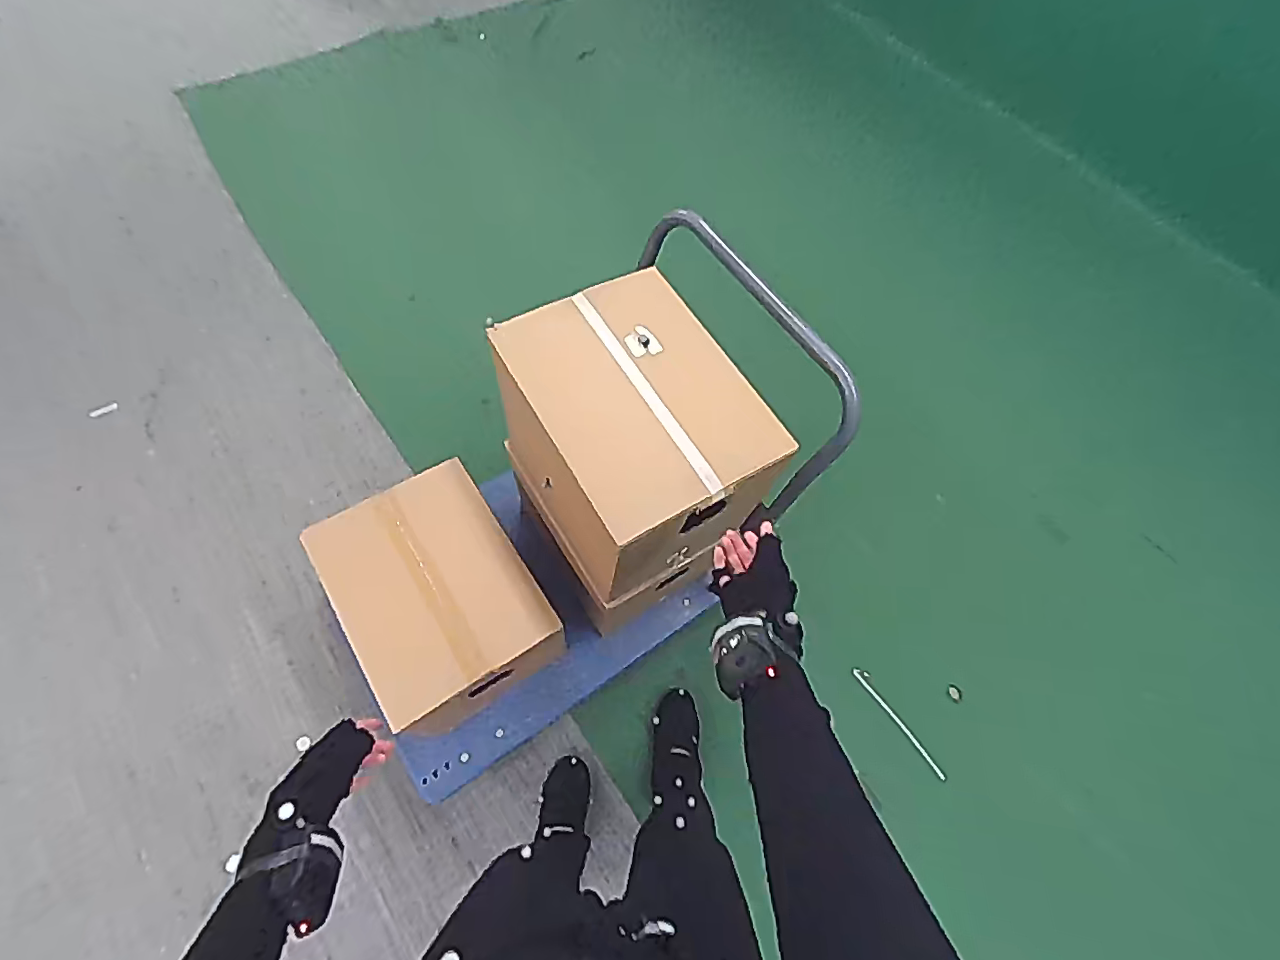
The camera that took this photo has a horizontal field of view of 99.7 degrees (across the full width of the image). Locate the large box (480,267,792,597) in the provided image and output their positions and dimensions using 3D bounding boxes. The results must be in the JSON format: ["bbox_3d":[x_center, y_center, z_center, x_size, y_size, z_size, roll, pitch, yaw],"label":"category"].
[{"bbox_3d":[-0.022,-0.074,0.929,0.320,0.320,0.408,-27,69,-19],"label":"large box"}]
